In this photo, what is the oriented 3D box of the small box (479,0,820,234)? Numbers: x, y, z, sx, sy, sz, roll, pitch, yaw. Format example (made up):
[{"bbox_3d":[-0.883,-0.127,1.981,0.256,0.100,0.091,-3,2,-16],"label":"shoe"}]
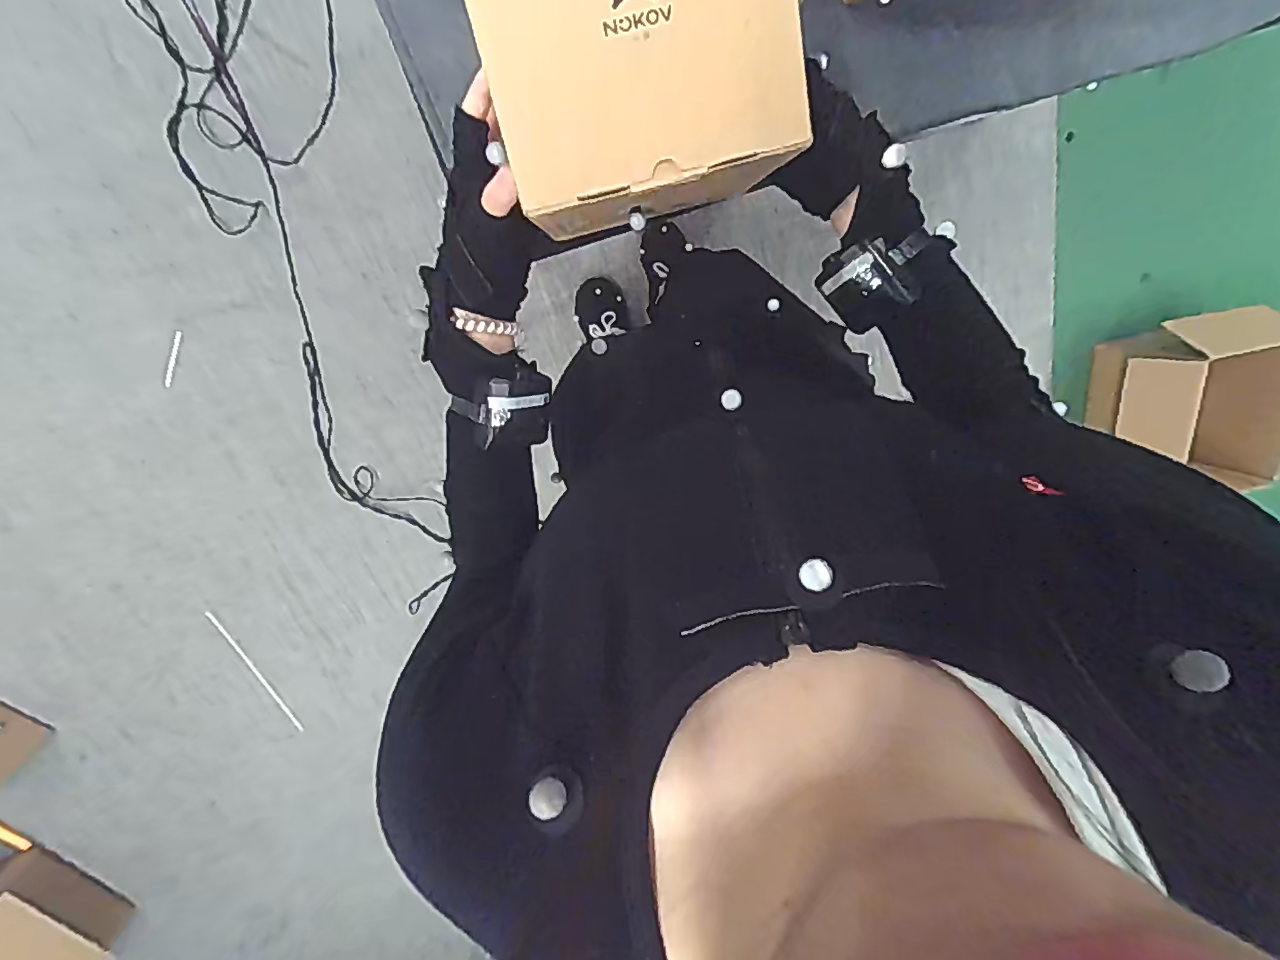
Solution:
[{"bbox_3d":[-0.005,-0.273,0.343,0.168,0.176,0.179,-14,111,1],"label":"small box"}]
